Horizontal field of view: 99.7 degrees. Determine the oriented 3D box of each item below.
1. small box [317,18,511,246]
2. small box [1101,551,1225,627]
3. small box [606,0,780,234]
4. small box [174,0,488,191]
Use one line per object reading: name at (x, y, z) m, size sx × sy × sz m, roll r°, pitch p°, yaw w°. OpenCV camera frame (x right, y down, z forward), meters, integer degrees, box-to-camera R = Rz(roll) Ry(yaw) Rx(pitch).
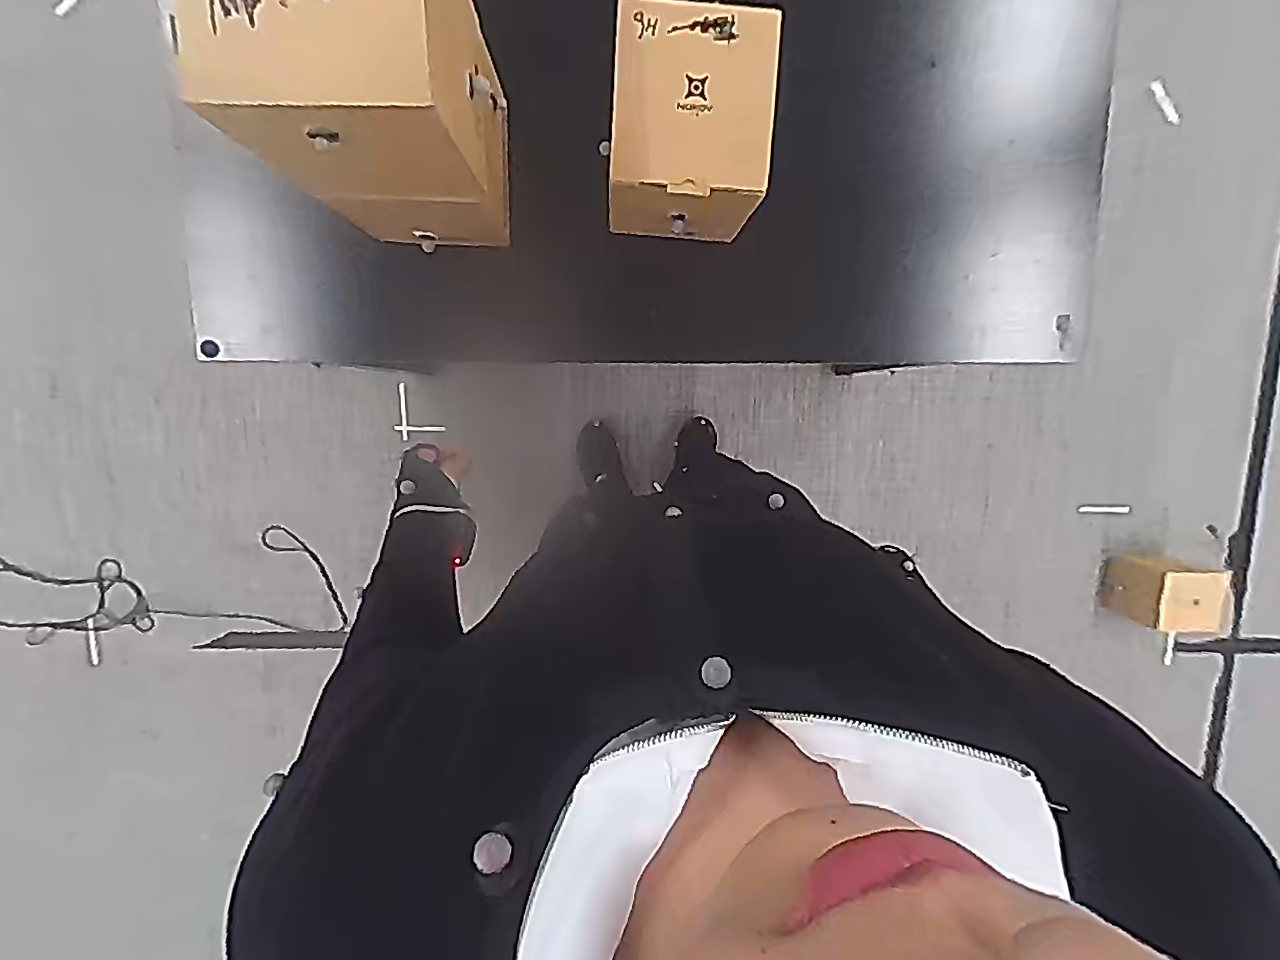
small box at (-0.245, -0.383, 0.614) m, size 0.168 × 0.176 × 0.179 m, roll 0°, pitch 99°, yaw -2°
small box at (1.468, 0.302, 1.526) m, size 0.179 × 0.176 × 0.168 m, roll 1°, pitch 98°, yaw -3°
small box at (0.050, -0.400, 0.624) m, size 0.168 × 0.176 × 0.179 m, roll 3°, pitch 98°, yaw -3°
small box at (-0.238, -0.358, 0.451) m, size 0.179 × 0.176 × 0.168 m, roll -2°, pitch 98°, yaw -2°
